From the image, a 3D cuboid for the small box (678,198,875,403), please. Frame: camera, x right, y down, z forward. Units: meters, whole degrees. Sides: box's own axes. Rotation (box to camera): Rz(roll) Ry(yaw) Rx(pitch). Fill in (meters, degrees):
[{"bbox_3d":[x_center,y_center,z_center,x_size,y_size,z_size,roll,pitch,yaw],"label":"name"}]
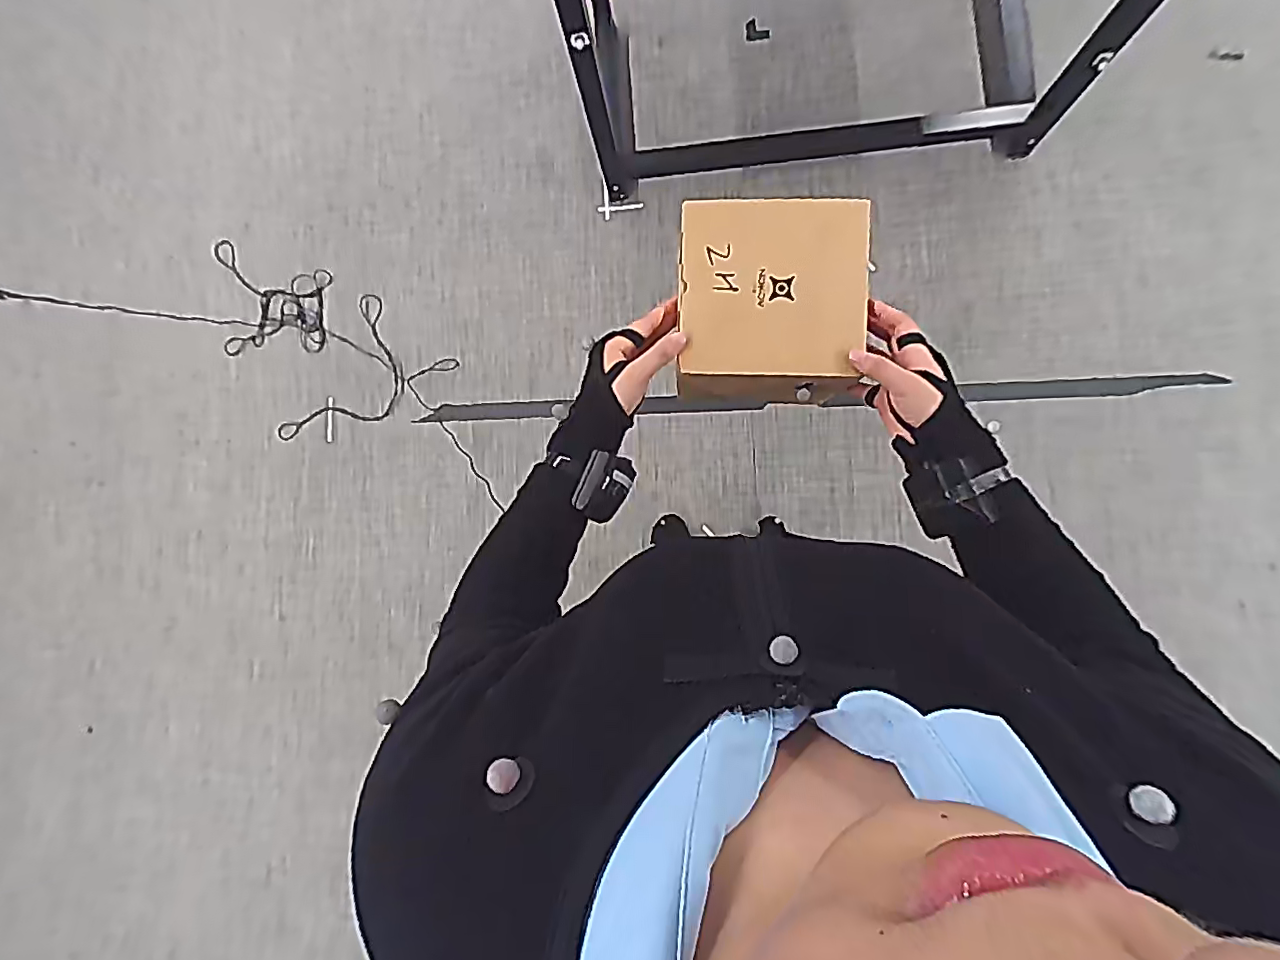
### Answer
[{"bbox_3d":[0.133,-0.179,0.583,0.179,0.176,0.168,2,89,5],"label":"small box"}]
